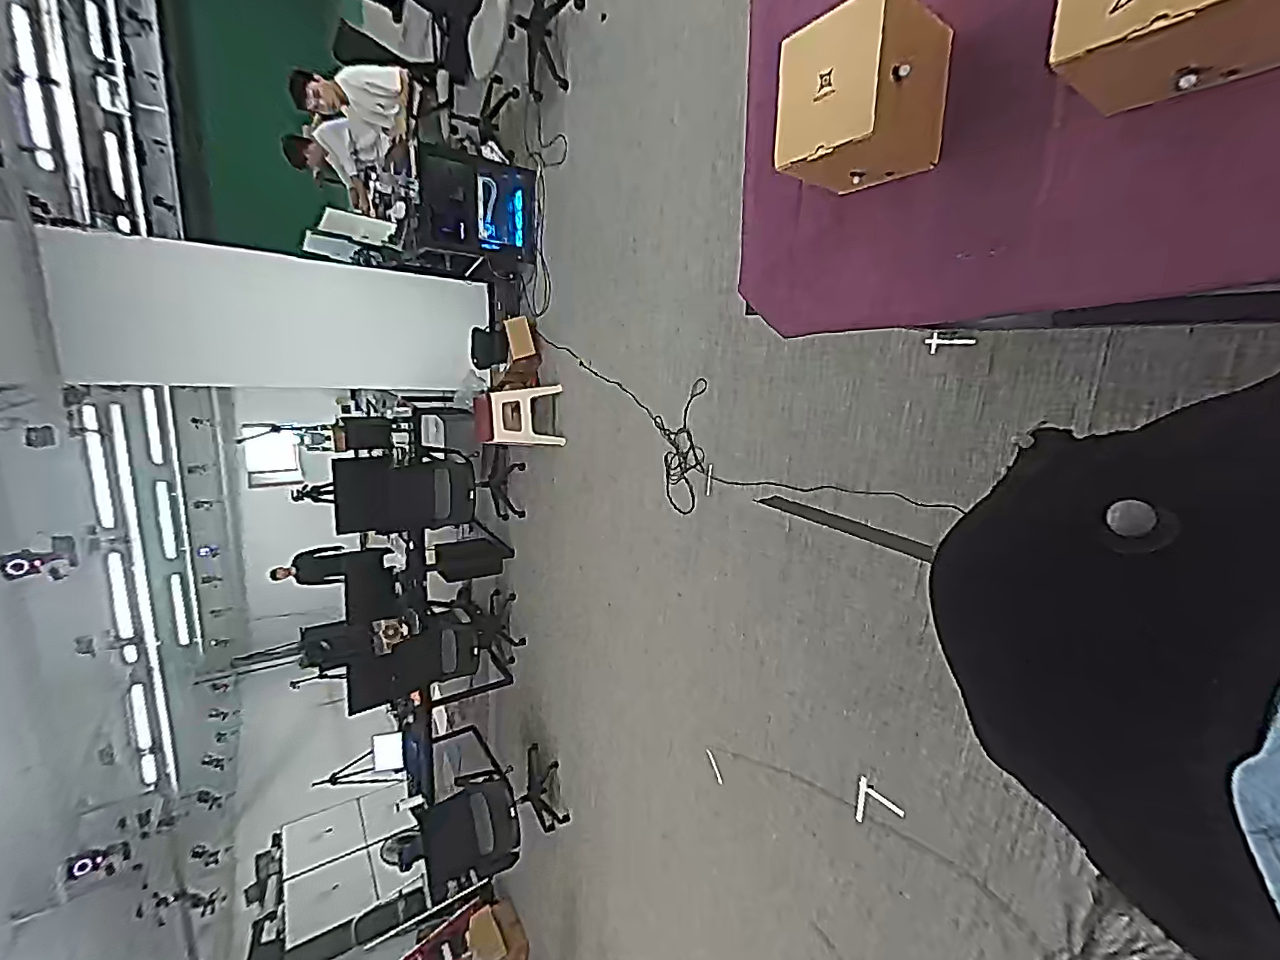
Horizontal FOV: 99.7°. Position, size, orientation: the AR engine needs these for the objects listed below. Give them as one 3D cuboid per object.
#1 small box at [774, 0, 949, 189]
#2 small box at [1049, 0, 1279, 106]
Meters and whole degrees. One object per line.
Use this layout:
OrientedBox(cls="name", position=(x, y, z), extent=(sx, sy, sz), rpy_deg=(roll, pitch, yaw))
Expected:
OrientedBox(cls="small box", position=(0.318, -0.547, 0.778), extent=(0.168, 0.176, 0.179), rpy_deg=(16, 109, 53))
OrientedBox(cls="small box", position=(0.515, -0.485, 0.491), extent=(0.168, 0.176, 0.179), rpy_deg=(19, 111, 54))
